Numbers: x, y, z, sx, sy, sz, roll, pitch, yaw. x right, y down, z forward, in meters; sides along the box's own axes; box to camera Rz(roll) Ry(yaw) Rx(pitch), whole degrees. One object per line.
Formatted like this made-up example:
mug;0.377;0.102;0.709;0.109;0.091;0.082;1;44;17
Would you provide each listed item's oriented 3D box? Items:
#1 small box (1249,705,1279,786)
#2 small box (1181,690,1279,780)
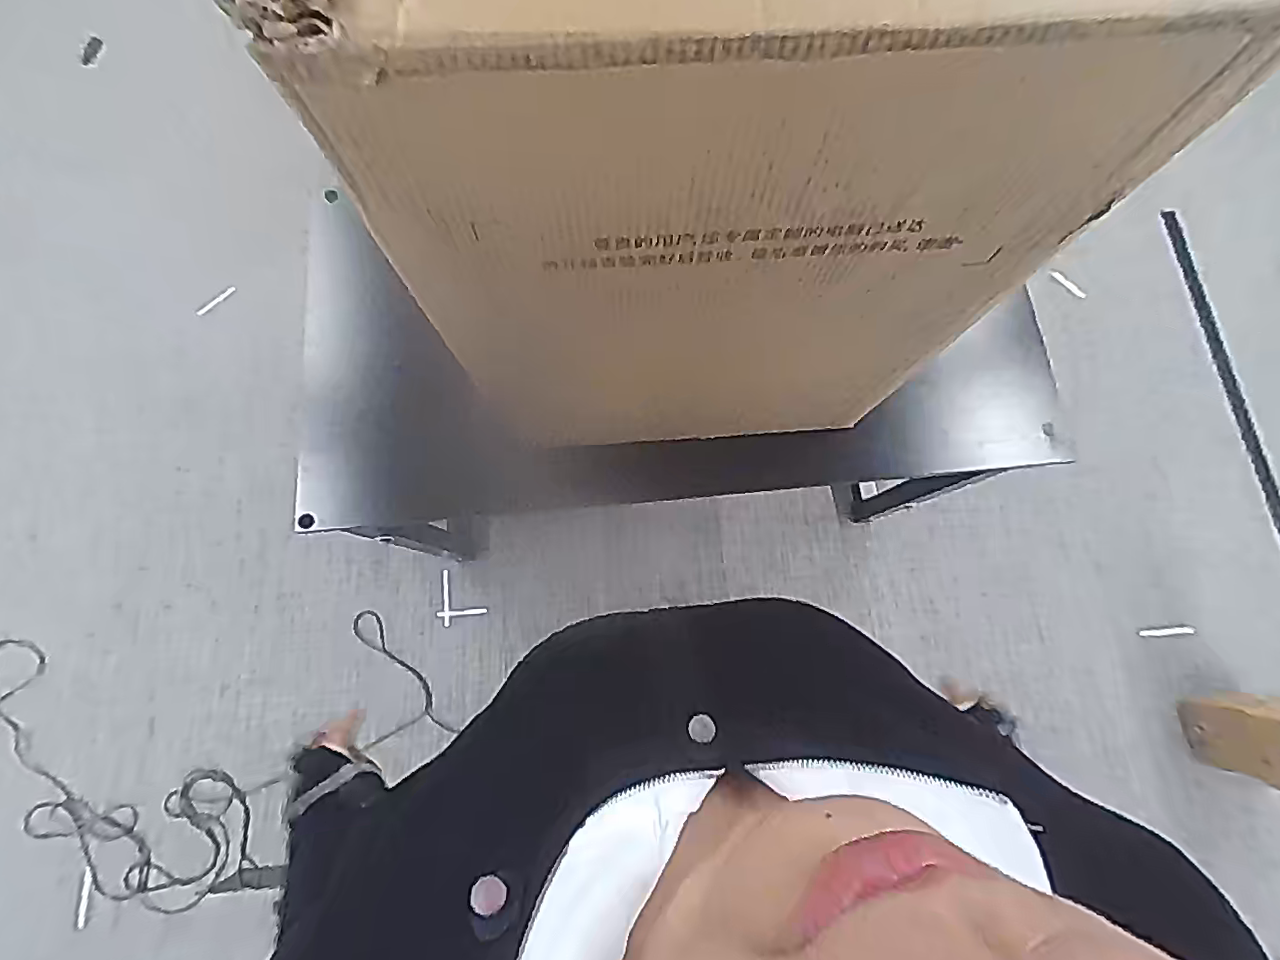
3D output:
small box;1.540;0.605;1.209;0.179;0.176;0.168;-6;76;-2
small box;1.554;0.637;1.370;0.179;0.176;0.168;-7;76;-1
